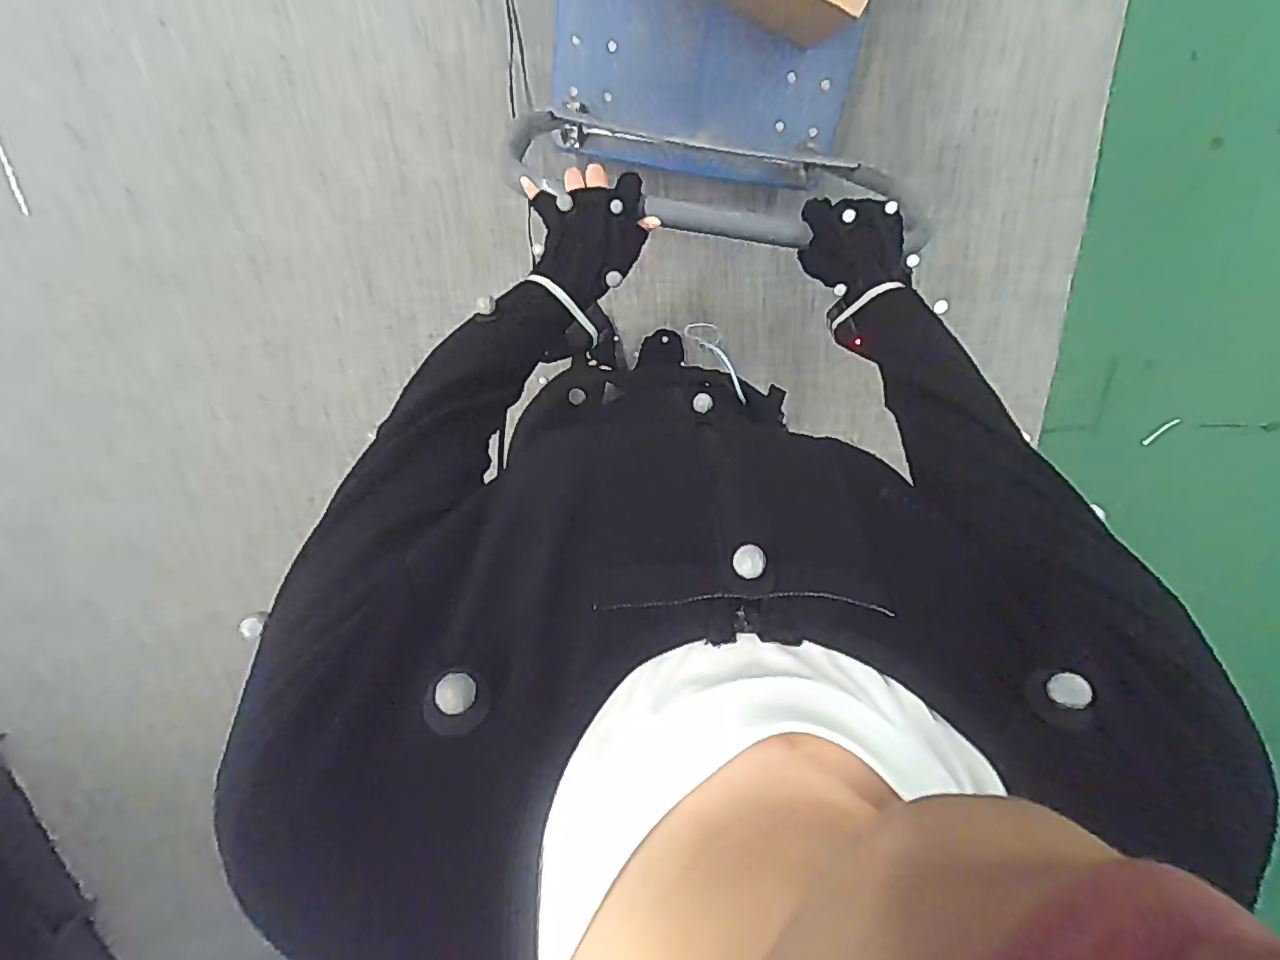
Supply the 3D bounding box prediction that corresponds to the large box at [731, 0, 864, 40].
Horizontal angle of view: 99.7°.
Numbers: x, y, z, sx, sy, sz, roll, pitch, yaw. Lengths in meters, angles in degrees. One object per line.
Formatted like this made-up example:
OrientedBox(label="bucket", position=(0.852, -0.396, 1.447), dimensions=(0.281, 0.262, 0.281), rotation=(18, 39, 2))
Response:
OrientedBox(label="large box", position=(0.191, -0.929, 0.791), dimensions=(0.408, 0.320, 0.320), rotation=(21, 121, -10))
